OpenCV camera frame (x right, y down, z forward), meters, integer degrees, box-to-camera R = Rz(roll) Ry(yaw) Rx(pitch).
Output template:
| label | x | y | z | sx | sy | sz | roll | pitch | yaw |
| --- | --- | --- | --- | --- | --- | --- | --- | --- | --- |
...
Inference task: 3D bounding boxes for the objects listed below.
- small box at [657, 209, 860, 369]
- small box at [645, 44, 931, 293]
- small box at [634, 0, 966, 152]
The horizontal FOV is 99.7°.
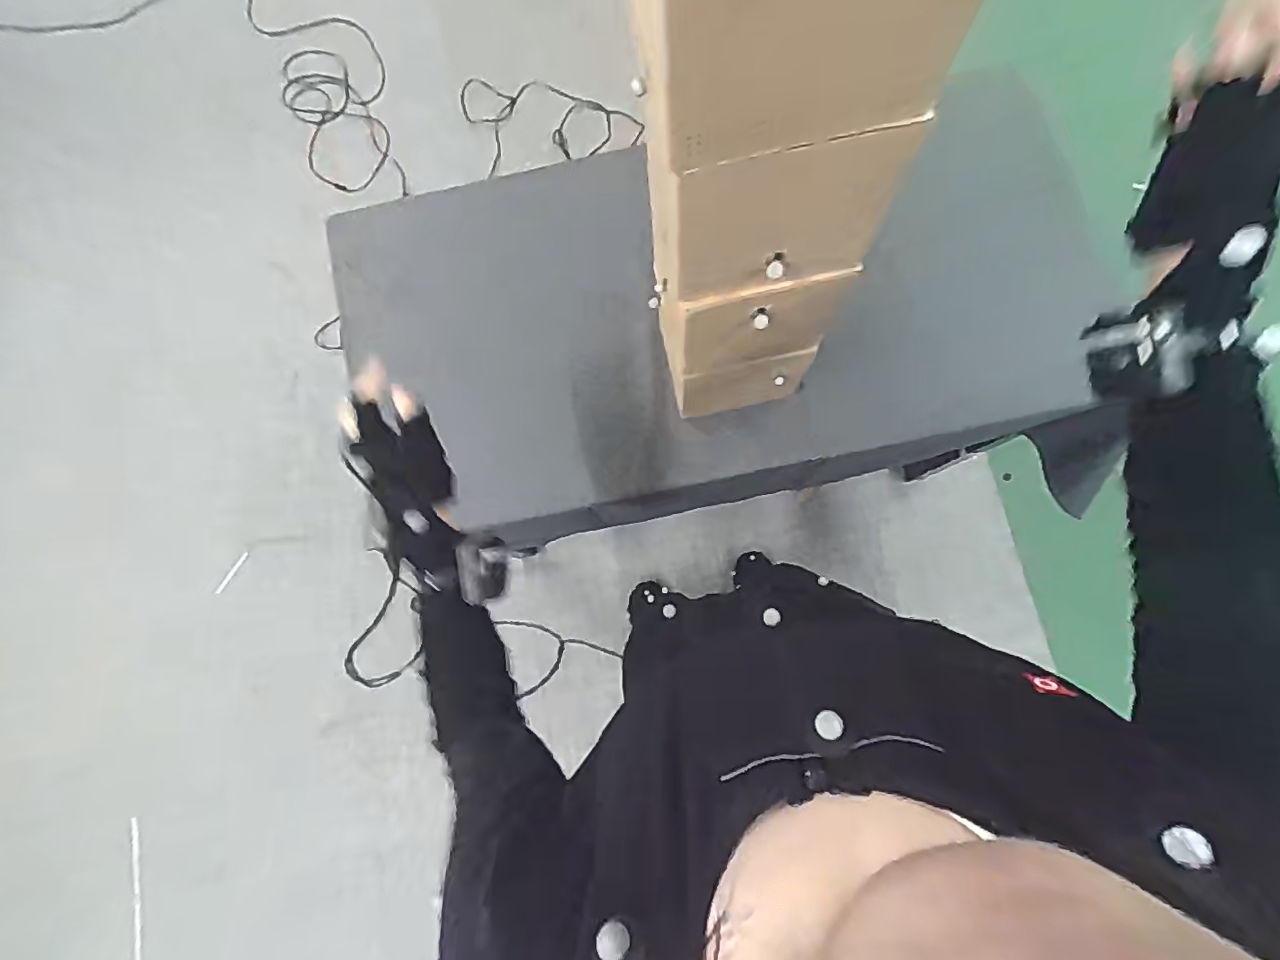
| label | x | y | z | sx | sy | sz | roll | pitch | yaw |
| --- | --- | --- | --- | --- | --- | --- | --- | --- | --- |
| small box | 0.117 | -0.246 | 0.612 | 0.179 | 0.176 | 0.168 | -13 | 78 | 2 |
| small box | 0.101 | -0.283 | 0.453 | 0.179 | 0.176 | 0.168 | -10 | 77 | 2 |
| small box | 0.081 | -0.319 | 0.294 | 0.179 | 0.176 | 0.168 | -12 | 78 | 2 |
